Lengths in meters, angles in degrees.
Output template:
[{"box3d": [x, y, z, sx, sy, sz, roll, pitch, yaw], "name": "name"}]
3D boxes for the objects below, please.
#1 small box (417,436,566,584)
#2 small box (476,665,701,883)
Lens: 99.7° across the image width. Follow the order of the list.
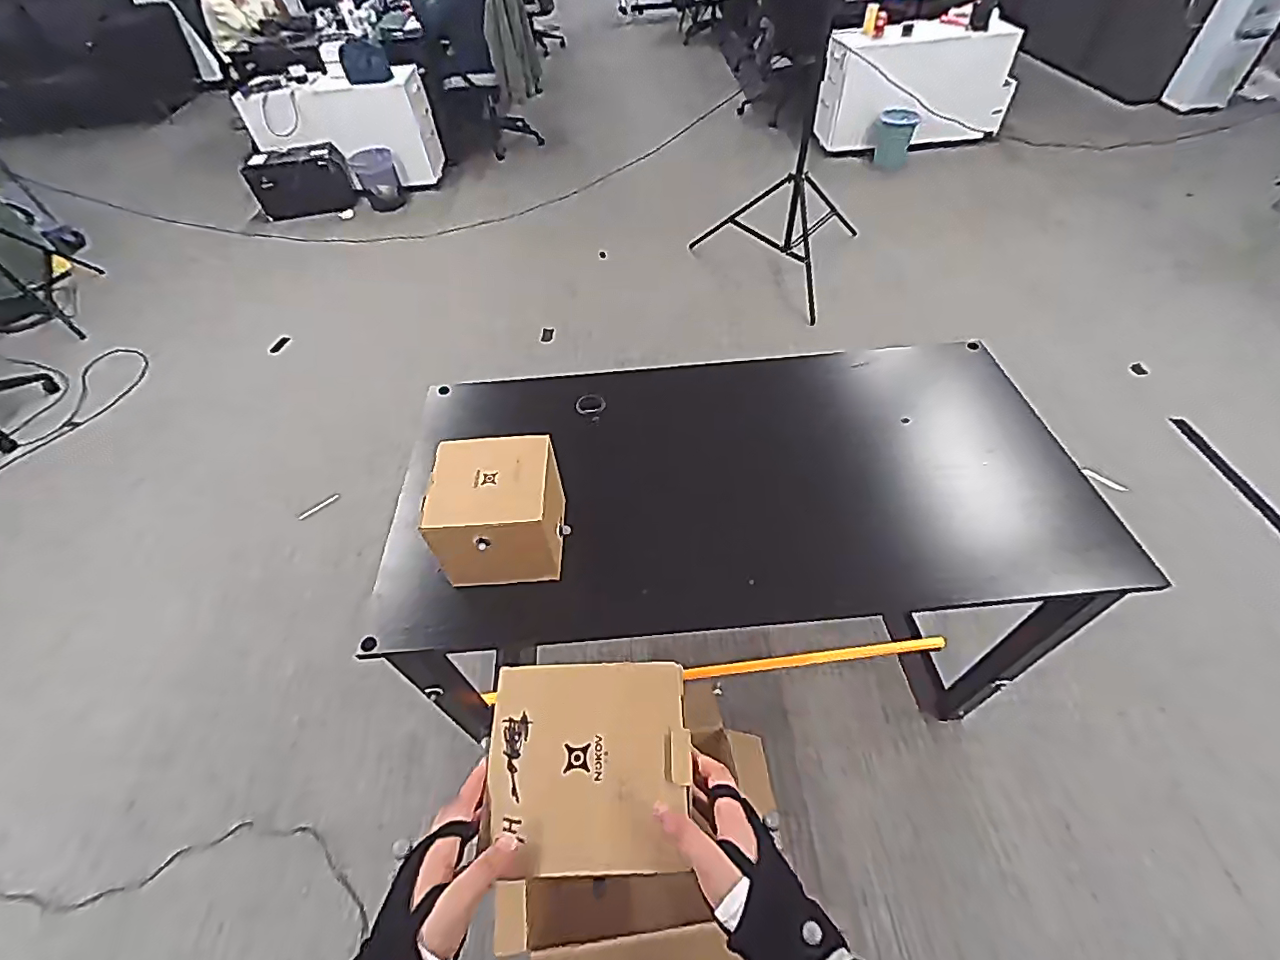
[{"box3d": [-0.218, 0.051, 0.844, 0.179, 0.176, 0.168, -4, 51, -1], "name": "small box"}, {"box3d": [-0.040, 0.288, 0.526, 0.179, 0.176, 0.168, -1, 53, 0], "name": "small box"}]
